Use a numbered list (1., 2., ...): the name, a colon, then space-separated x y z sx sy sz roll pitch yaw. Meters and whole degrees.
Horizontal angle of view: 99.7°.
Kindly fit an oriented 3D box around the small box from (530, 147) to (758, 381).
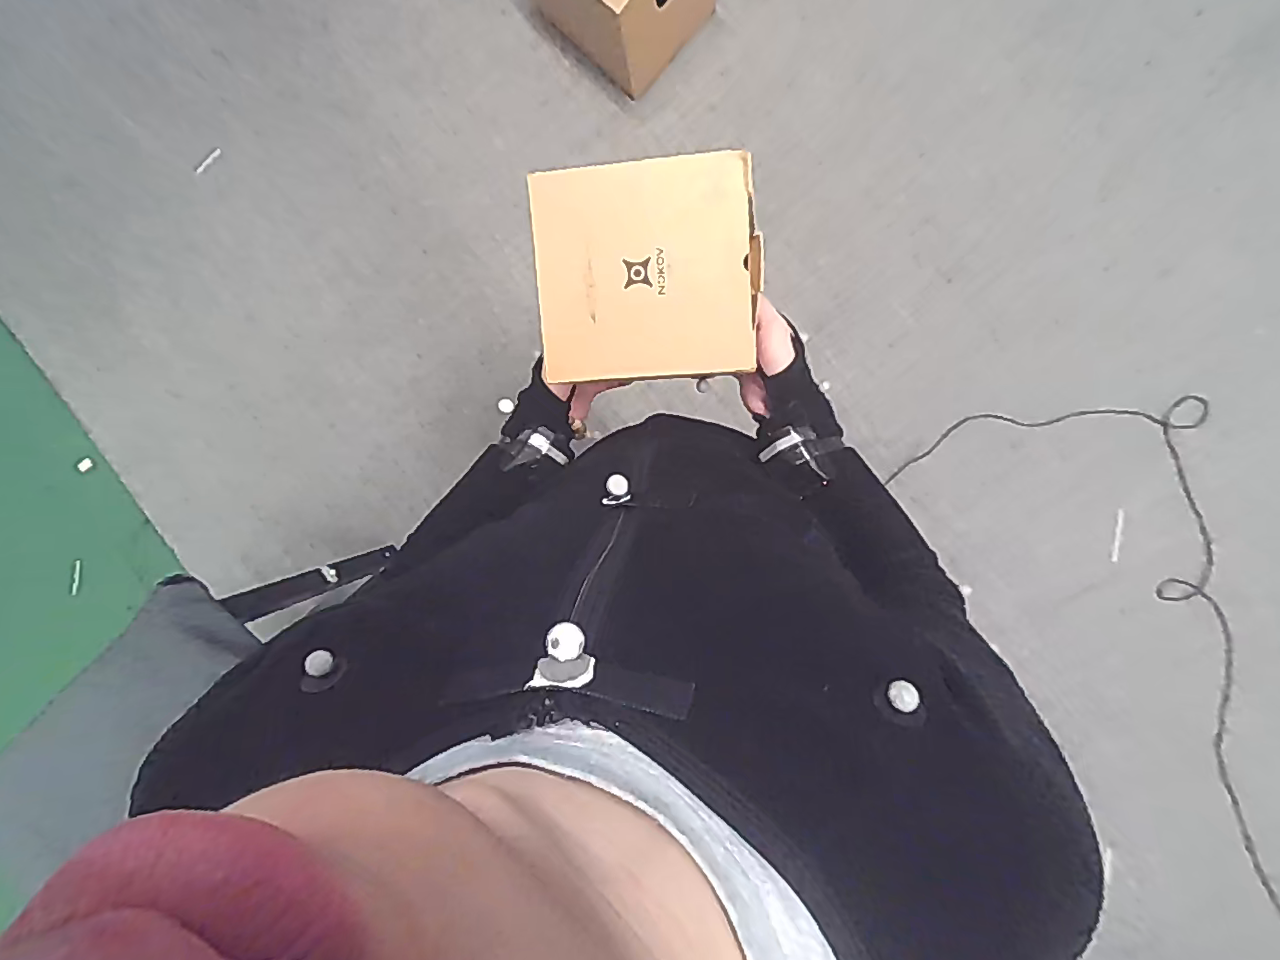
1. small box: 0.013 -0.182 0.507 0.179 0.176 0.168 -2 100 8
